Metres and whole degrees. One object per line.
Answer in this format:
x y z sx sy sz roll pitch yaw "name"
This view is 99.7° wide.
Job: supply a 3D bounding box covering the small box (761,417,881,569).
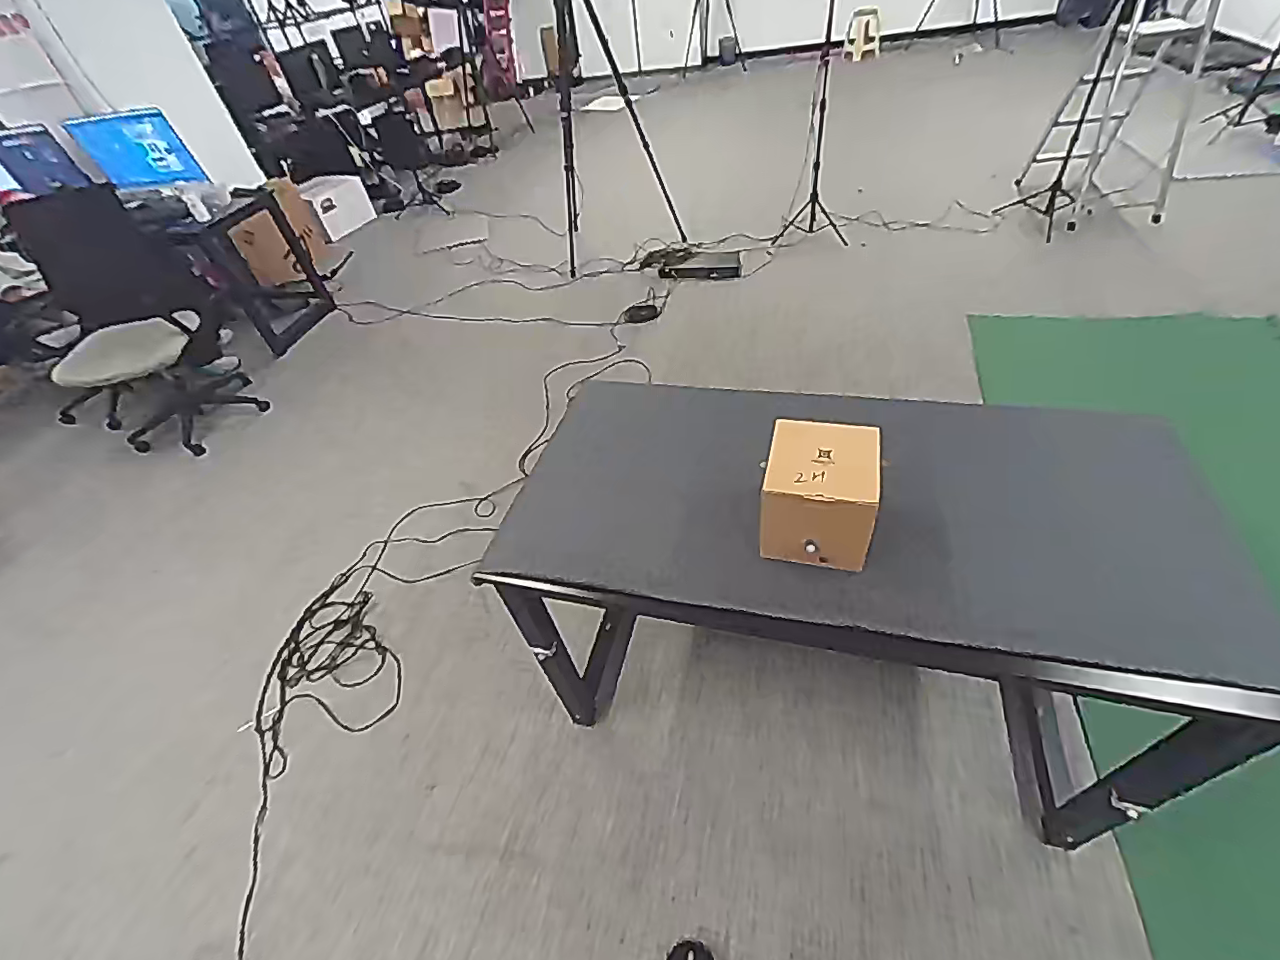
0.295 0.019 0.895 0.168 0.176 0.179 7 46 18 "small box"
